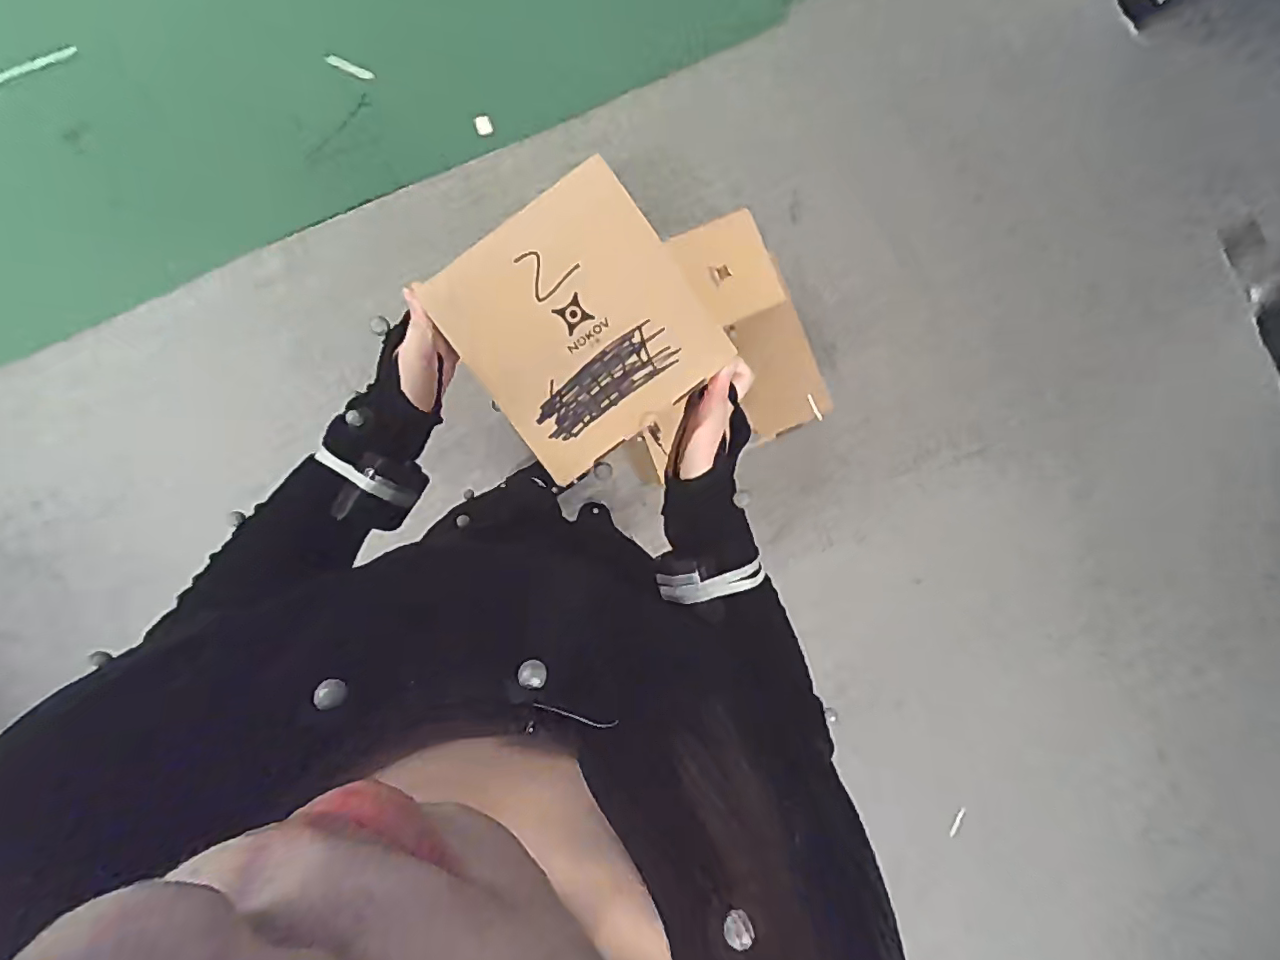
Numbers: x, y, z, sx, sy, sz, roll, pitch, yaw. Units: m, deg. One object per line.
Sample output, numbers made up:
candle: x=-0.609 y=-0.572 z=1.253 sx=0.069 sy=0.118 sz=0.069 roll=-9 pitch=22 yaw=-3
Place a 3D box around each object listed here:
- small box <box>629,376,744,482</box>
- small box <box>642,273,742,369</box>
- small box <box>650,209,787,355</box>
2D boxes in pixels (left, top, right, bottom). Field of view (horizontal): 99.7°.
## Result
small box: x=0.089 y=-0.101 z=1.119 sx=0.179 sy=0.176 sz=0.168 roll=-20 pitch=93 yaw=-5
small box: x=0.110 y=-0.345 z=1.121 sx=0.179 sy=0.176 sz=0.168 roll=-22 pitch=92 yaw=-5
small box: x=0.129 y=-0.340 z=0.958 sx=0.179 sy=0.176 sz=0.168 roll=-22 pitch=92 yaw=-3
